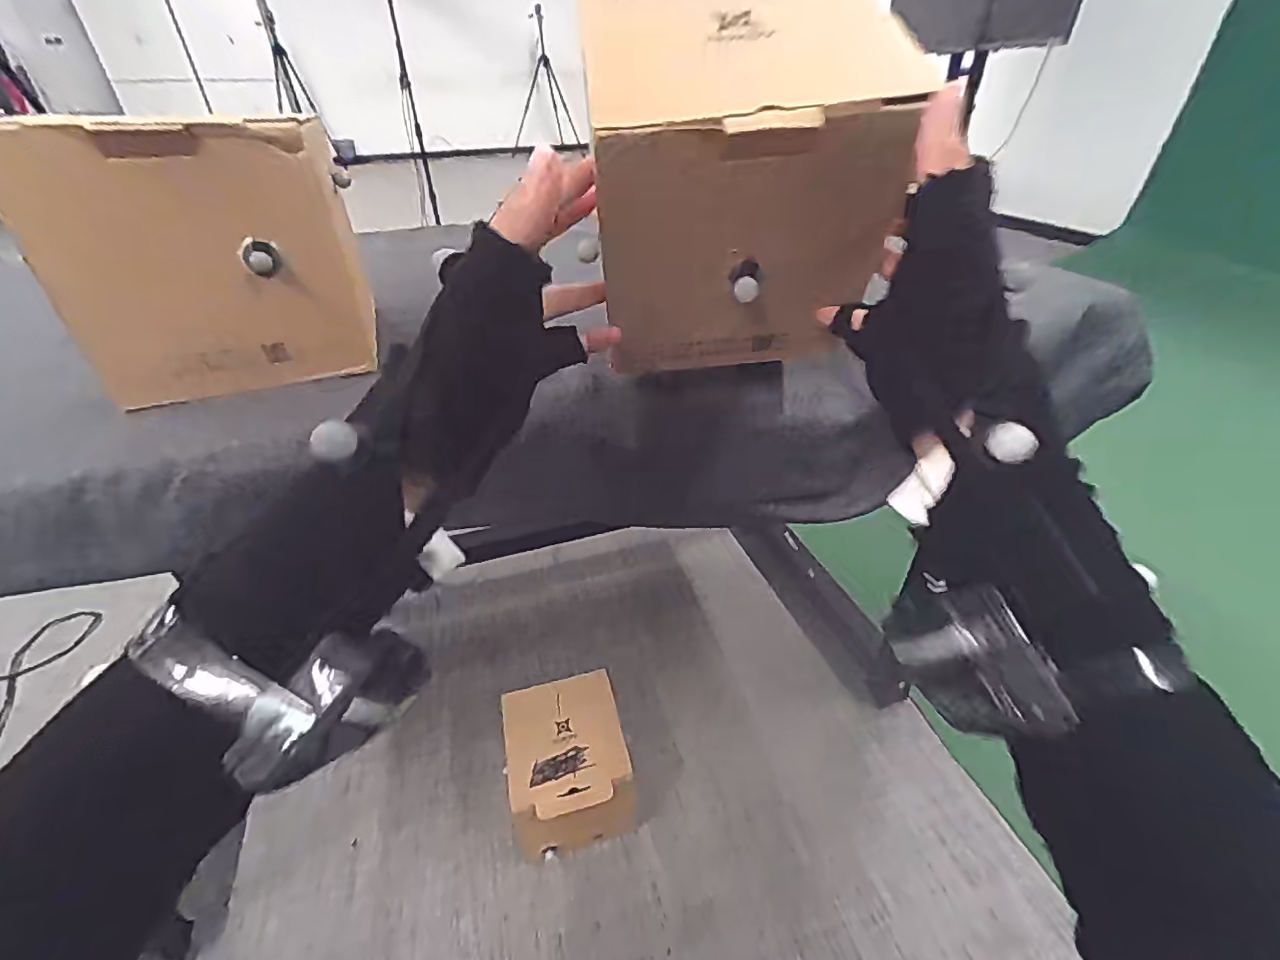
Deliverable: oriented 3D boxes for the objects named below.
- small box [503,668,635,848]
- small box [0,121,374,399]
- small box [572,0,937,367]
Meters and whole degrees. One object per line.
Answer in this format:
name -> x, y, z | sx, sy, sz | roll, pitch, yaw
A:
small box -> -0.107, 0.426, 0.824 | 0.168, 0.176, 0.179 | -10, 36, -11
small box -> -0.314, -0.171, 0.416 | 0.168, 0.176, 0.179 | -13, 36, -18
small box -> 0.050, -0.188, 0.351 | 0.168, 0.176, 0.179 | -5, 63, -1
